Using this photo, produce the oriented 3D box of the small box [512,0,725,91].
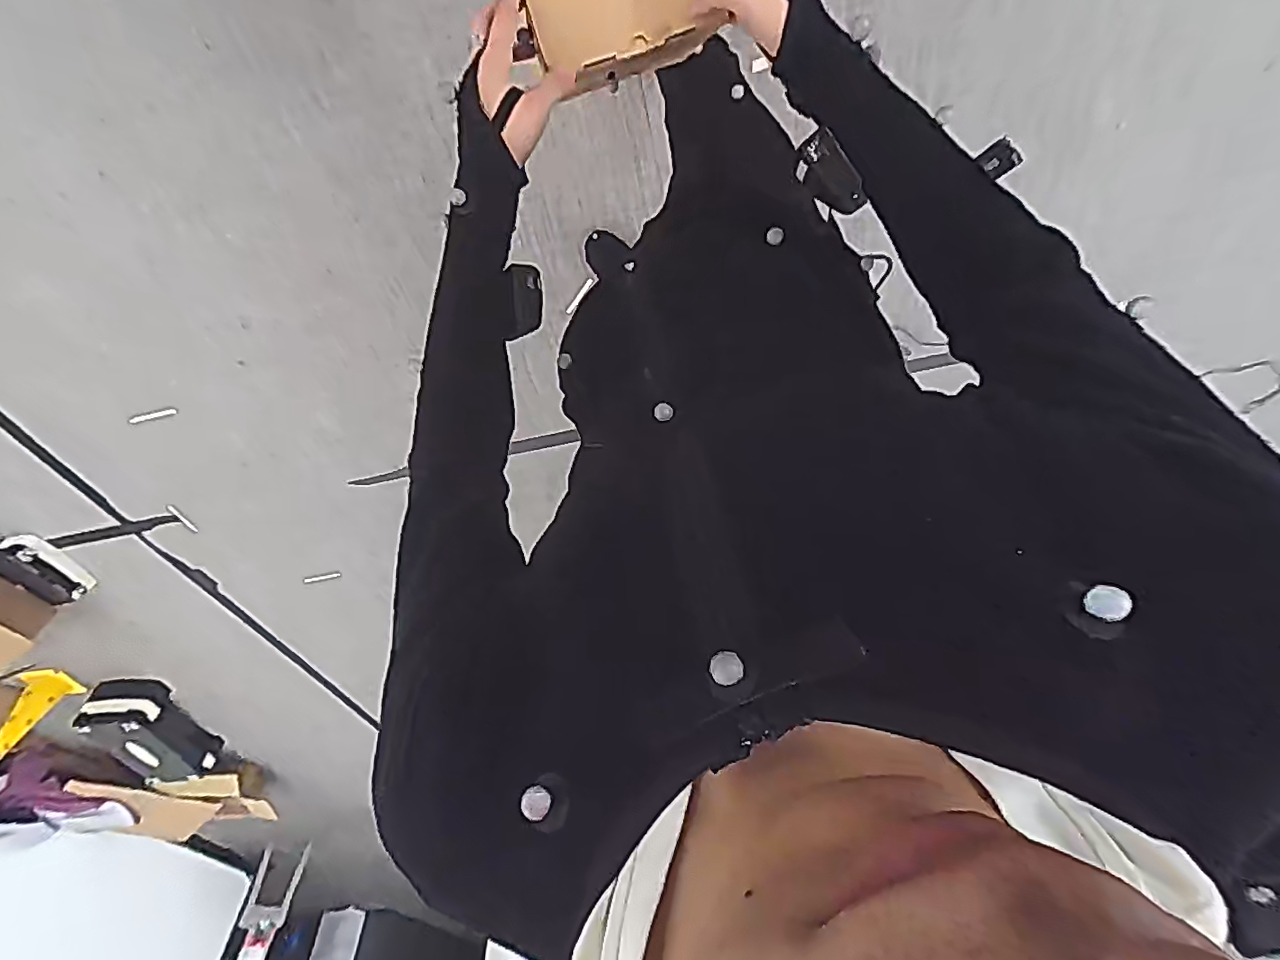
[{"bbox_3d":[-0.042,-0.482,0.482,0.168,0.176,0.179,-19,121,0],"label":"small box"}]
